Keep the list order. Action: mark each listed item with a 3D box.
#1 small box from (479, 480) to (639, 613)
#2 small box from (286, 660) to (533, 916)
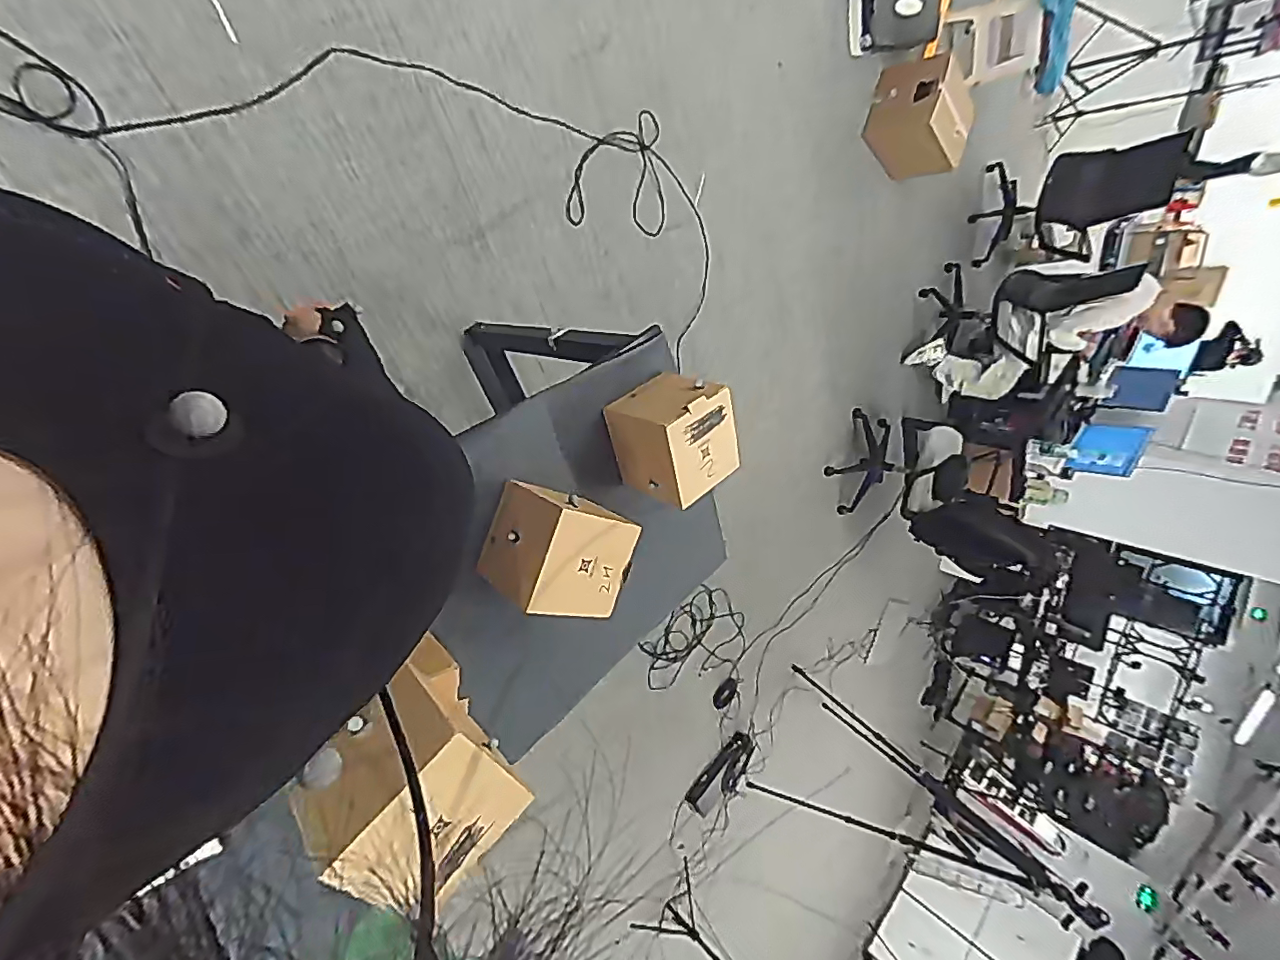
[{"bbox_3d":[-0.138,0.107,0.900,0.179,0.176,0.168,18,92,-46],"label":"small box"},{"bbox_3d":[-0.263,0.343,0.627,0.168,0.176,0.179,-45,131,-25],"label":"small box"}]
